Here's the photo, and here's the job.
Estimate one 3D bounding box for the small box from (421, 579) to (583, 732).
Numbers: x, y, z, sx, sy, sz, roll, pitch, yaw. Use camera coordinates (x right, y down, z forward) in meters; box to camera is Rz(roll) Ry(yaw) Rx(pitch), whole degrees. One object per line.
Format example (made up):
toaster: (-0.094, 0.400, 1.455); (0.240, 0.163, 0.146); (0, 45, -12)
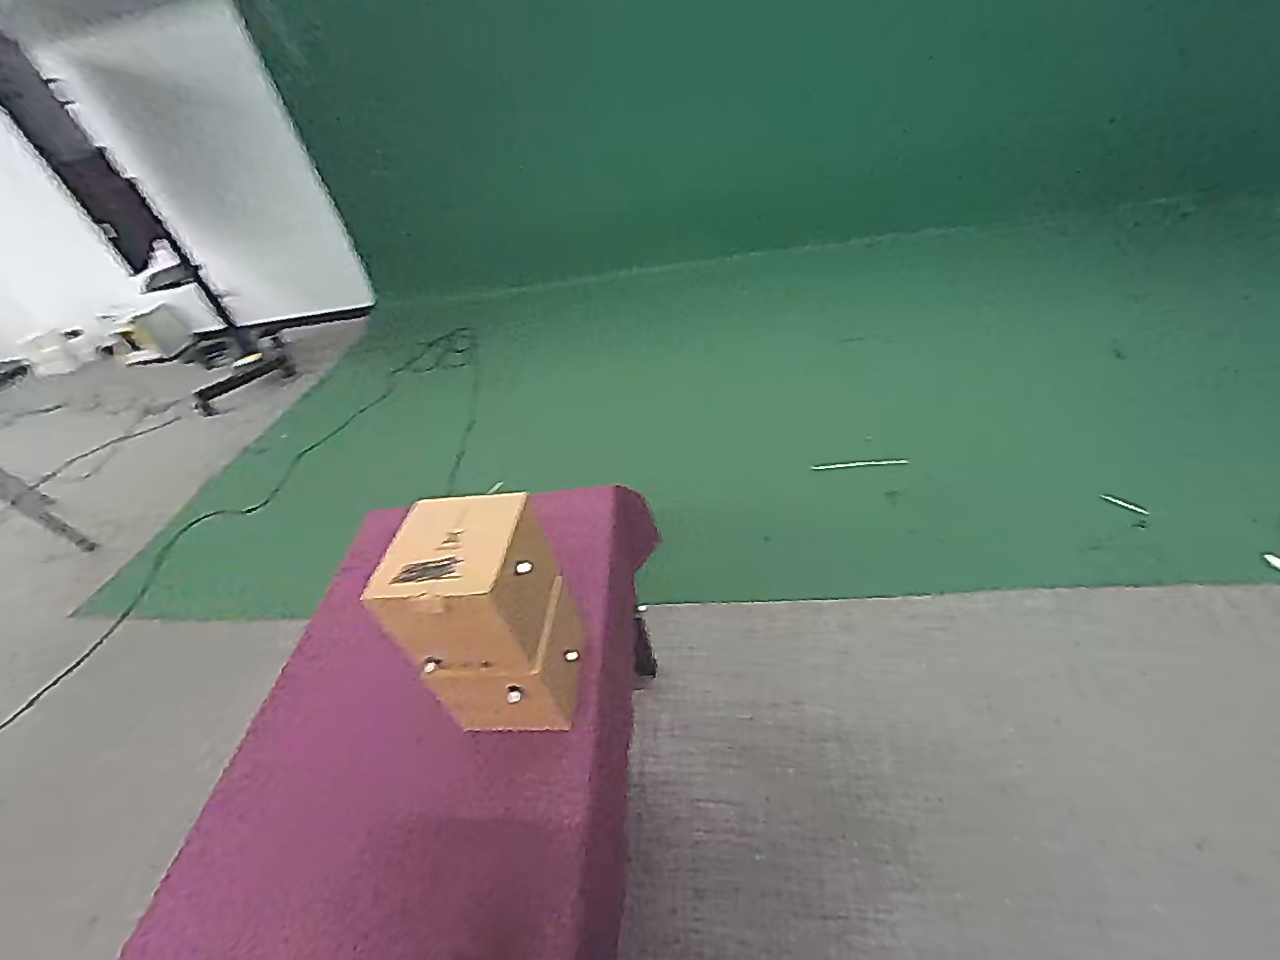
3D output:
small box: (-0.197, 0.273, 0.838); (0.179, 0.176, 0.168); (-5, 40, 10)

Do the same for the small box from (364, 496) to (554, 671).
small box: (-0.228, 0.145, 0.739); (0.168, 0.176, 0.179); (-4, 40, 10)
